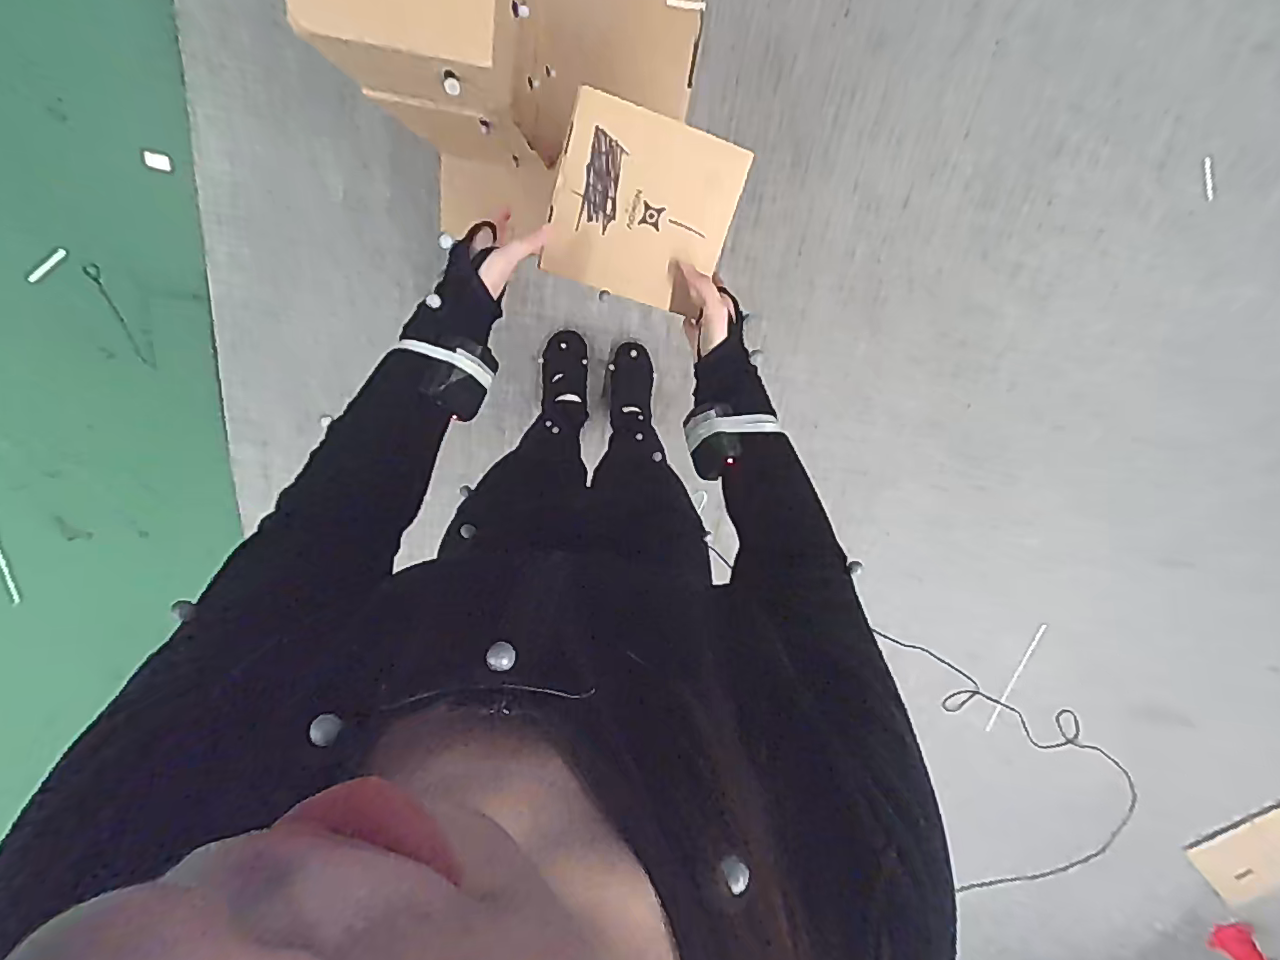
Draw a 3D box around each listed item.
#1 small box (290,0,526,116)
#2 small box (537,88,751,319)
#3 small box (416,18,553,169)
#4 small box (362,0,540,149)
[{"bbox_3d":[-0.208,-0.481,0.526,0.179,0.176,0.168,8,109,-7],"label":"small box"},{"bbox_3d":[-0.005,-0.295,0.609,0.179,0.176,0.168,15,111,-12],"label":"small box"},{"bbox_3d":[-0.230,-0.593,0.832,0.179,0.176,0.168,6,110,-5],"label":"small box"},{"bbox_3d":[-0.228,-0.537,0.680,0.179,0.176,0.168,6,110,-7],"label":"small box"}]
